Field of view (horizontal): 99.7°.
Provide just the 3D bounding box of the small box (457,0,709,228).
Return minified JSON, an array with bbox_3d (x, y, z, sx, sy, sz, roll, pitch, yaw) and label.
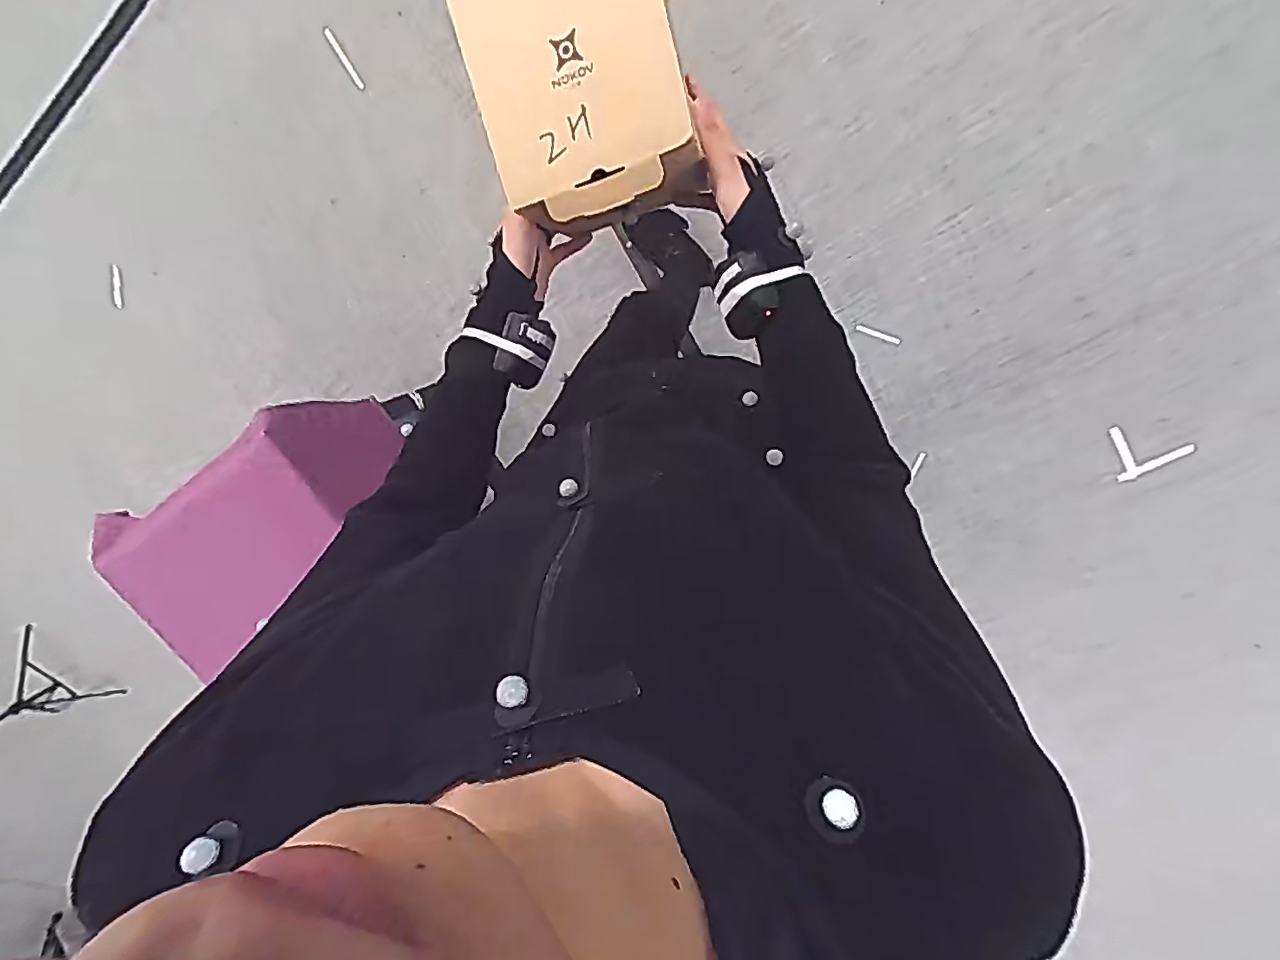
[{"bbox_3d":[-0.037,-0.357,0.498,0.168,0.176,0.179,-12,104,15],"label":"small box"}]
